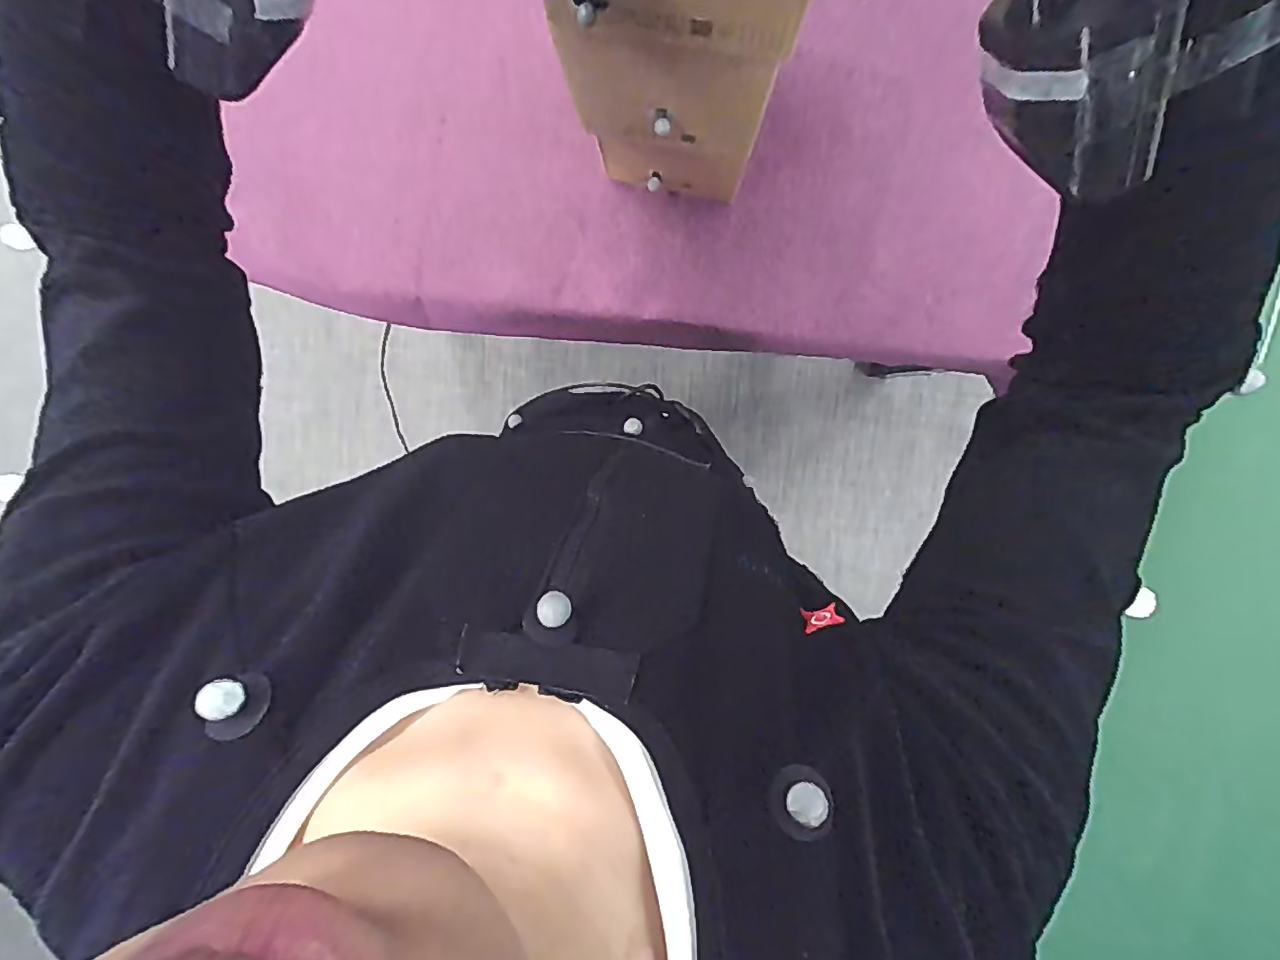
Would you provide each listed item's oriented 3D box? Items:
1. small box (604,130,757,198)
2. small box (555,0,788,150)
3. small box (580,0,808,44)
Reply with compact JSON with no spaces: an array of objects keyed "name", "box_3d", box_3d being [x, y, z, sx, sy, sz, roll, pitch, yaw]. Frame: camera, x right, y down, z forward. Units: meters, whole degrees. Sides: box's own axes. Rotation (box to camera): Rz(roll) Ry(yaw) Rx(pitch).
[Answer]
[{"name":"small box","box_3d":[0.052,-0.442,0.591,0.168,0.176,0.179,11,99,2]},{"name":"small box","box_3d":[0.037,-0.403,0.432,0.168,0.176,0.179,9,99,2]},{"name":"small box","box_3d":[0.032,-0.370,0.271,0.168,0.176,0.179,10,98,2]}]
